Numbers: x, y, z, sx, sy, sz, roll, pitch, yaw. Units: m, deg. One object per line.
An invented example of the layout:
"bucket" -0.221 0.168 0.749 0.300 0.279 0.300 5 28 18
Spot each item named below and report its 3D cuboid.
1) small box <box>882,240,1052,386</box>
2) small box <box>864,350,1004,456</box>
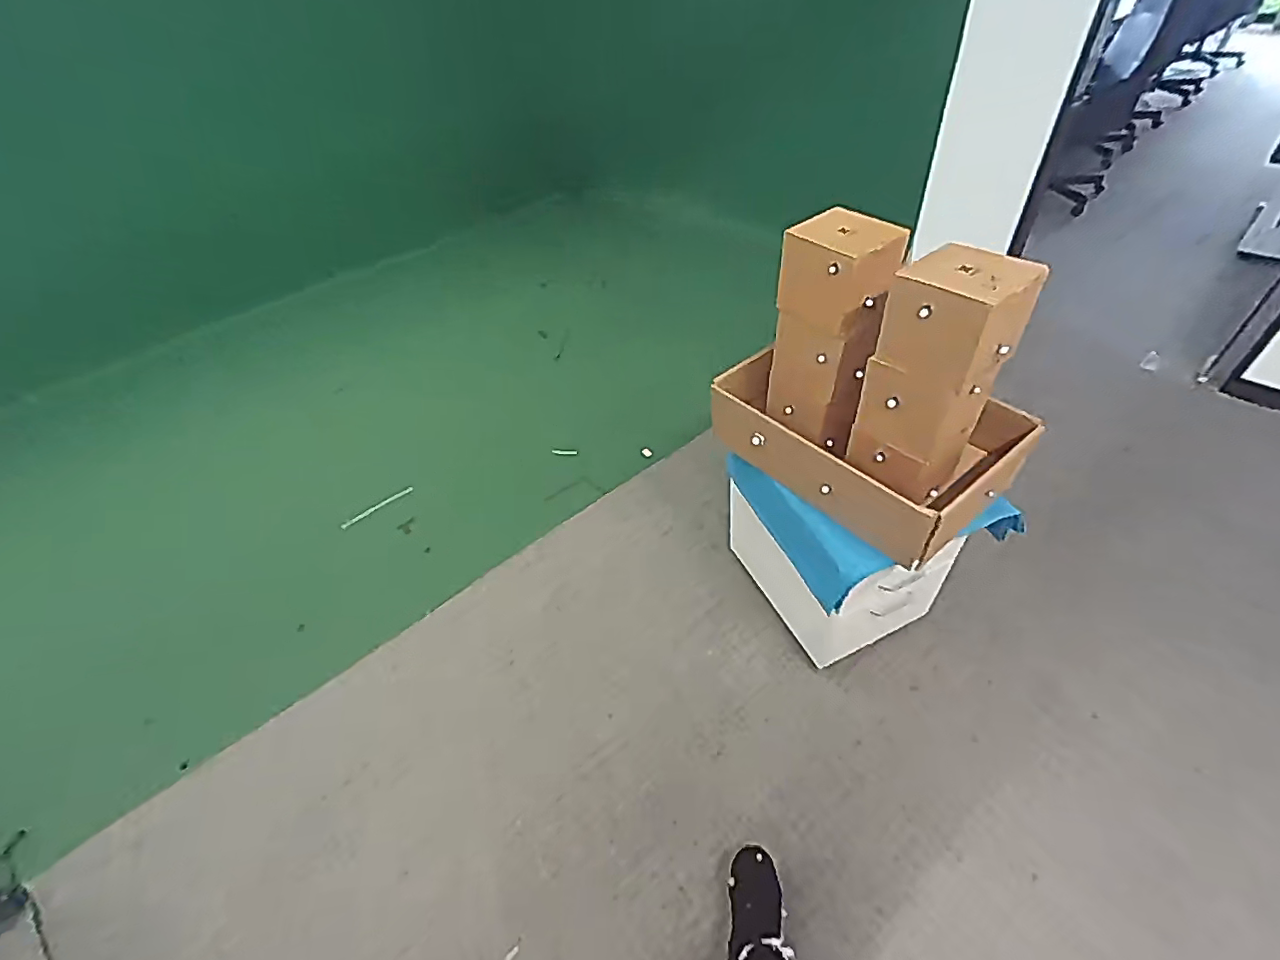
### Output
"small box" 0.555 -0.291 0.945 0.168 0.176 0.179 -32 49 -20
"small box" 0.568 -0.176 1.064 0.168 0.176 0.179 -34 48 -21
